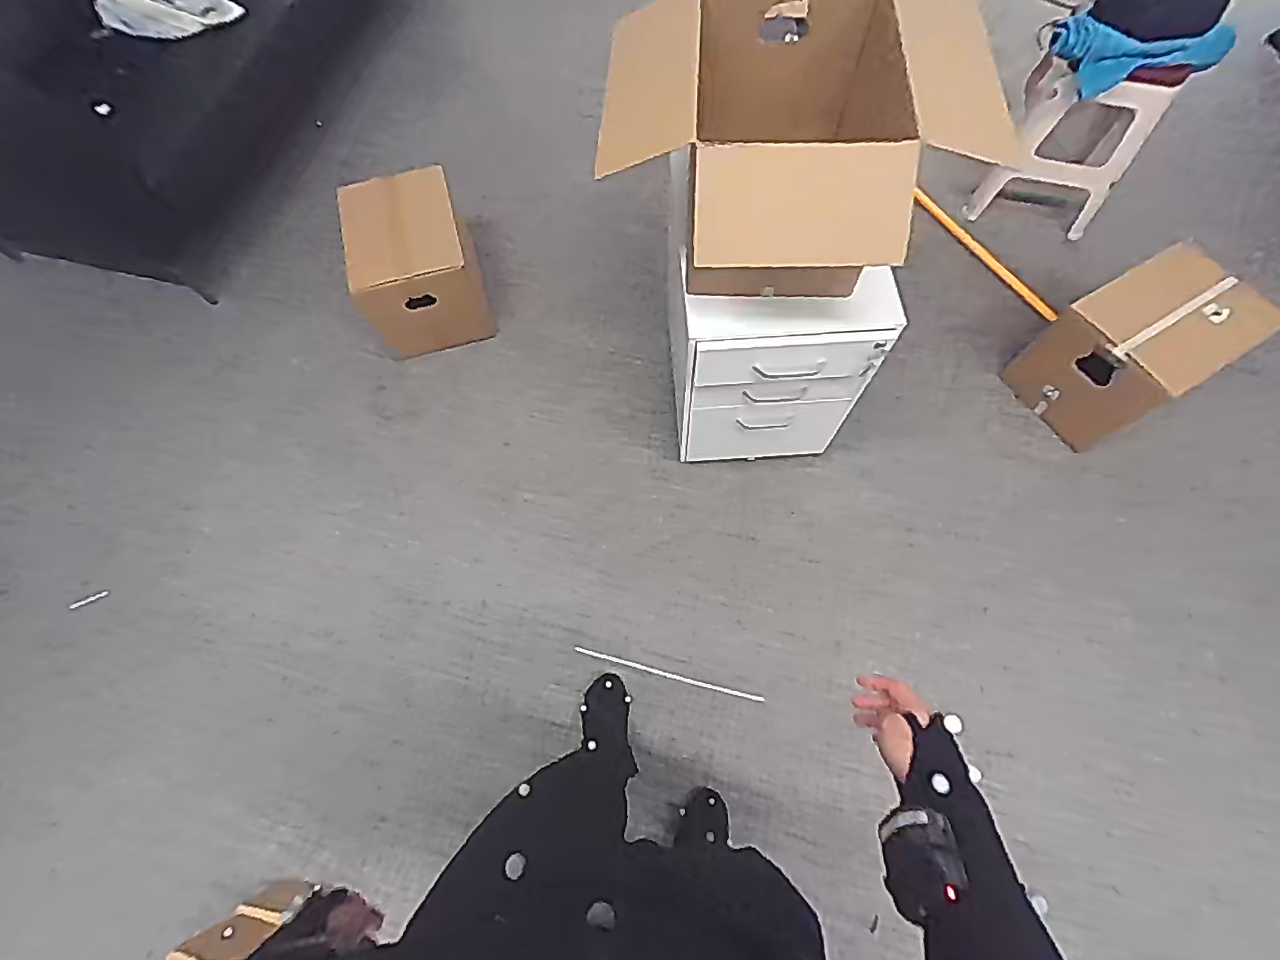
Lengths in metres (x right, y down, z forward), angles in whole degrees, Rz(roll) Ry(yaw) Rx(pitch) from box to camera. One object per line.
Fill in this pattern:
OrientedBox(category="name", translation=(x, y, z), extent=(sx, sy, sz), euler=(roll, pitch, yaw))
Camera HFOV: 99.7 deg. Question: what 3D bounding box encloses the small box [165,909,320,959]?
OrientedBox(category="small box", translation=(-0.709, 0.883, 0.936), extent=(0.179, 0.176, 0.168), euler=(12, 69, 6))
